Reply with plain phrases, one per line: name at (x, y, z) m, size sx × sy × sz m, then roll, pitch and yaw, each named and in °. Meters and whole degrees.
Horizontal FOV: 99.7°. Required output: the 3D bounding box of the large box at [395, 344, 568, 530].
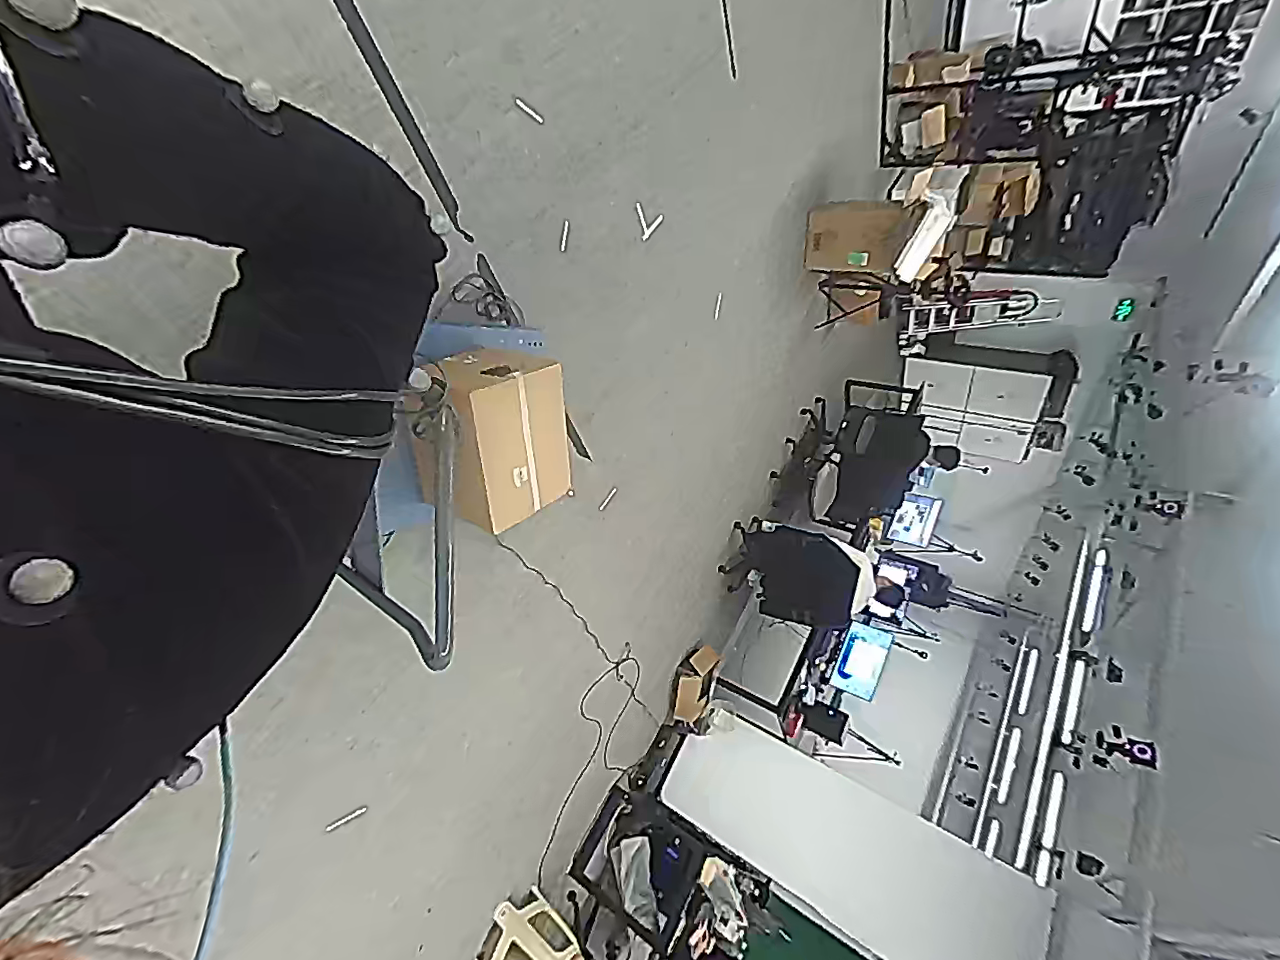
large box at (-0.433, -0.136, 1.529) m, size 0.320 × 0.320 × 0.408 m, roll -33°, pitch 132°, yaw -45°
